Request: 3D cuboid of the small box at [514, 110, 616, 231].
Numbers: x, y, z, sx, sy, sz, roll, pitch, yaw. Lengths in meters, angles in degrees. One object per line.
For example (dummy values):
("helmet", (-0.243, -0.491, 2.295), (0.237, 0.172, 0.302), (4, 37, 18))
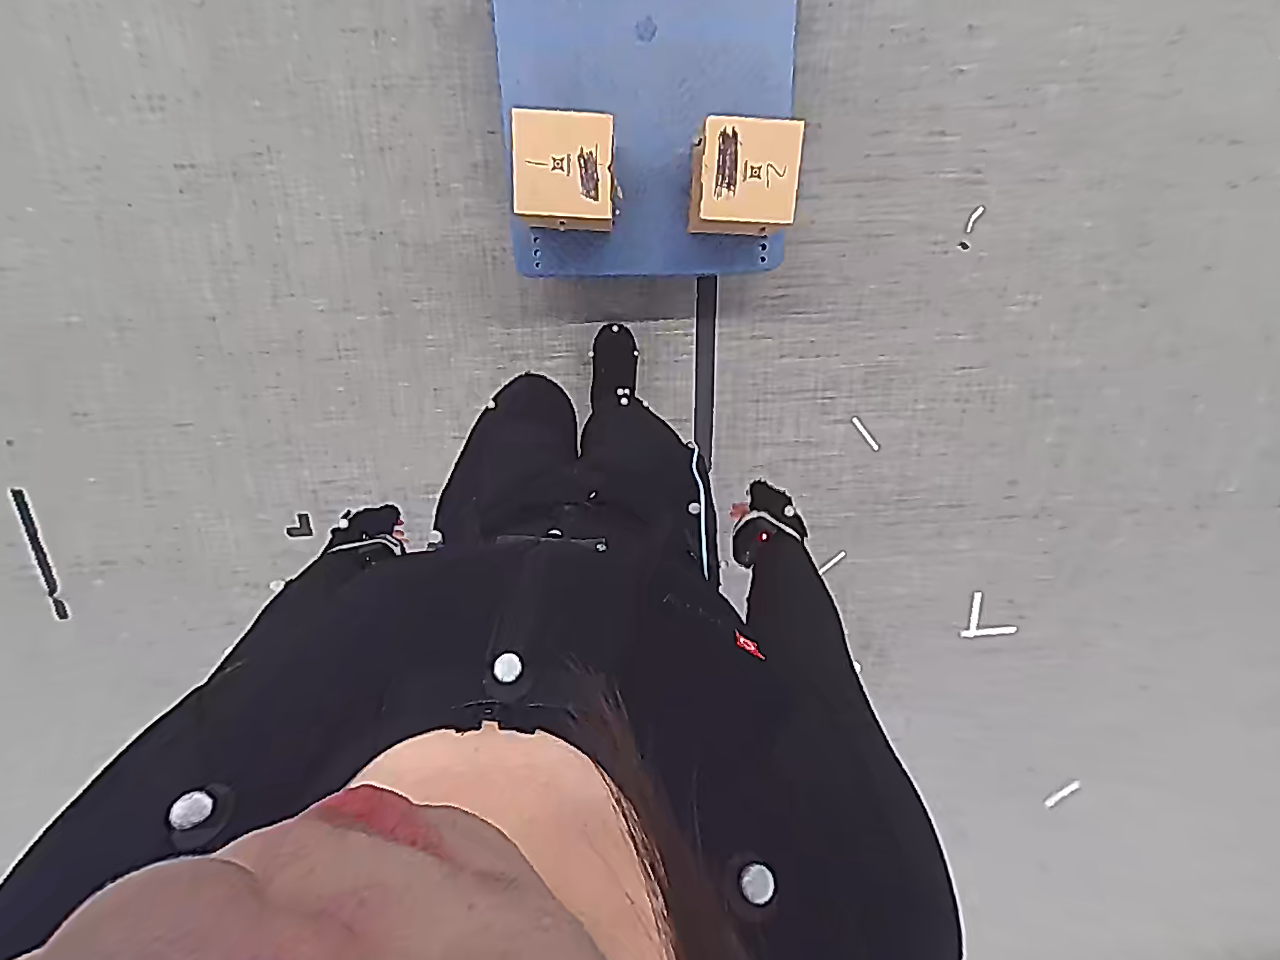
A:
("small box", (-0.135, -0.572, 1.020), (0.179, 0.176, 0.168), (2, 108, -2))
